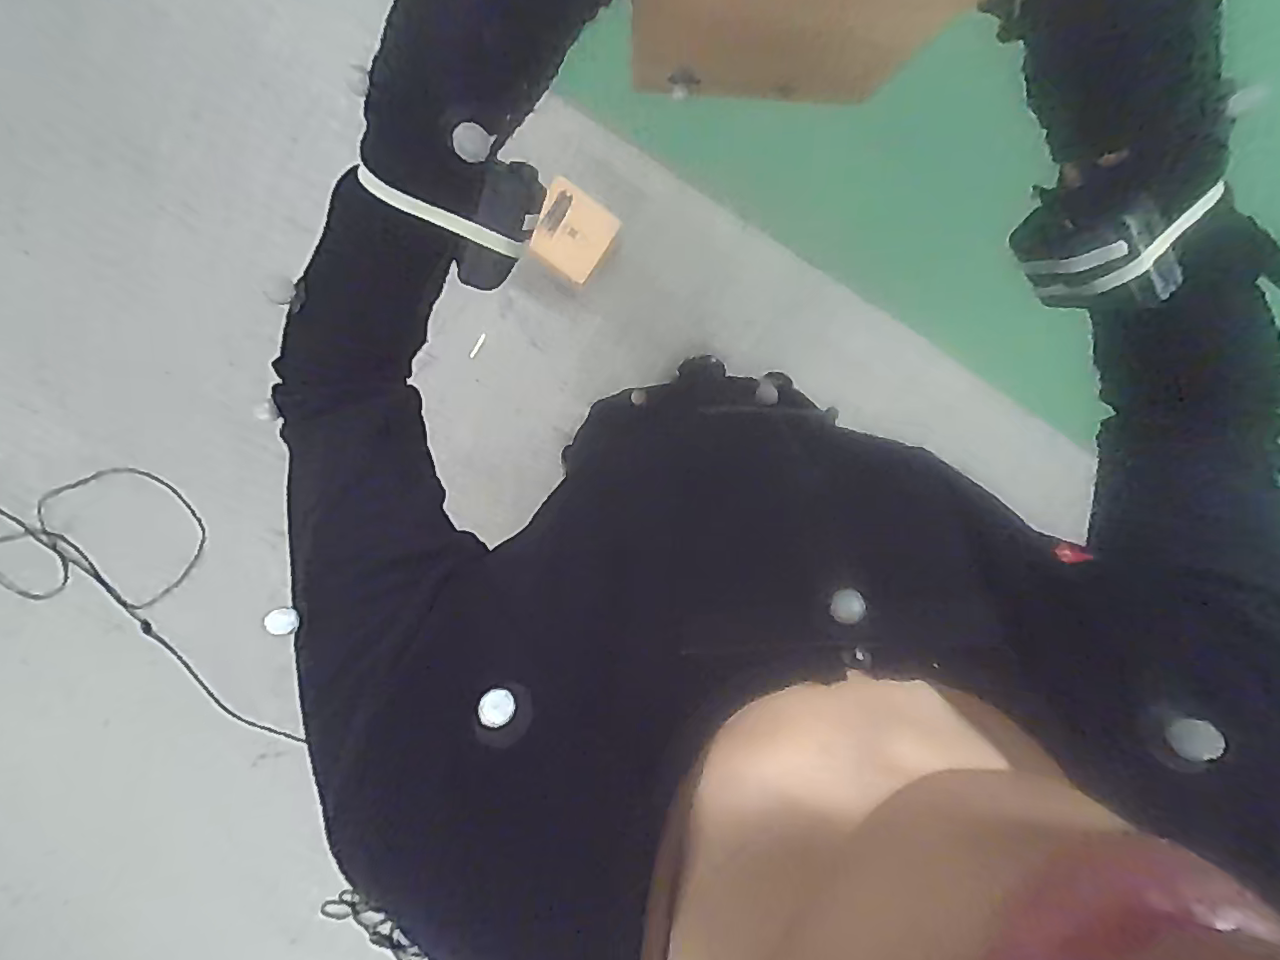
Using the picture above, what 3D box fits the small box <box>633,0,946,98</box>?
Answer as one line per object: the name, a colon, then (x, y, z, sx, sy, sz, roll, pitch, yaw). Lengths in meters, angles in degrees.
small box: (0.083, -0.326, 0.276, 0.168, 0.176, 0.179, 3, 106, -1)
